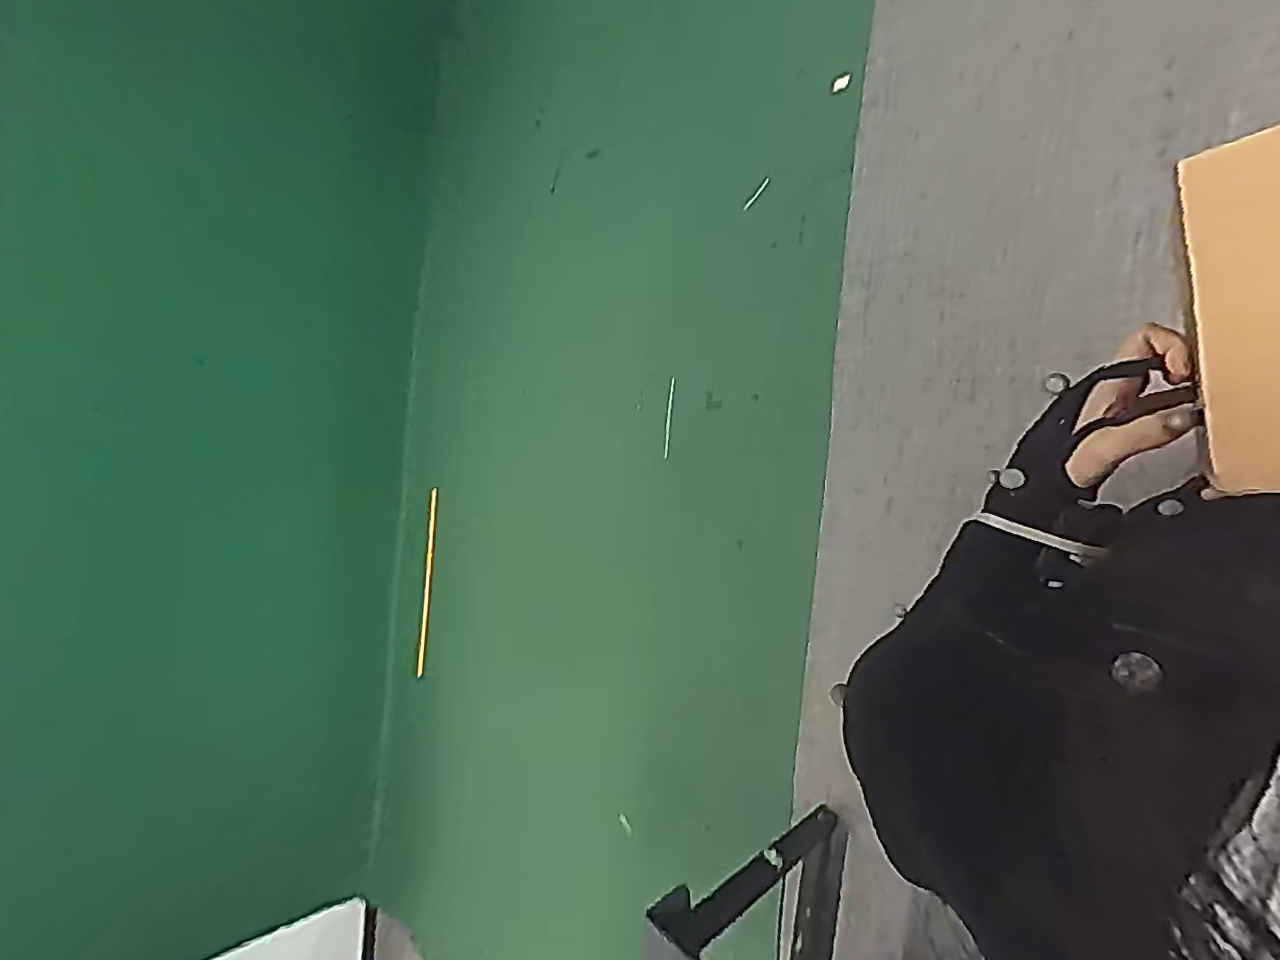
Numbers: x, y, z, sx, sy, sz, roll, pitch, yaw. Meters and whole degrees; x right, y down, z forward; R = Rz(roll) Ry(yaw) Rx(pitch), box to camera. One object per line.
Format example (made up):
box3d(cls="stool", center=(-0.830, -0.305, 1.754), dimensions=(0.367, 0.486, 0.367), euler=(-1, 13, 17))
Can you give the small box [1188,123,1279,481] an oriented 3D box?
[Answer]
box3d(cls="small box", center=(0.413, -0.102, 0.283), dimensions=(0.168, 0.176, 0.179), euler=(-7, 94, 45))
